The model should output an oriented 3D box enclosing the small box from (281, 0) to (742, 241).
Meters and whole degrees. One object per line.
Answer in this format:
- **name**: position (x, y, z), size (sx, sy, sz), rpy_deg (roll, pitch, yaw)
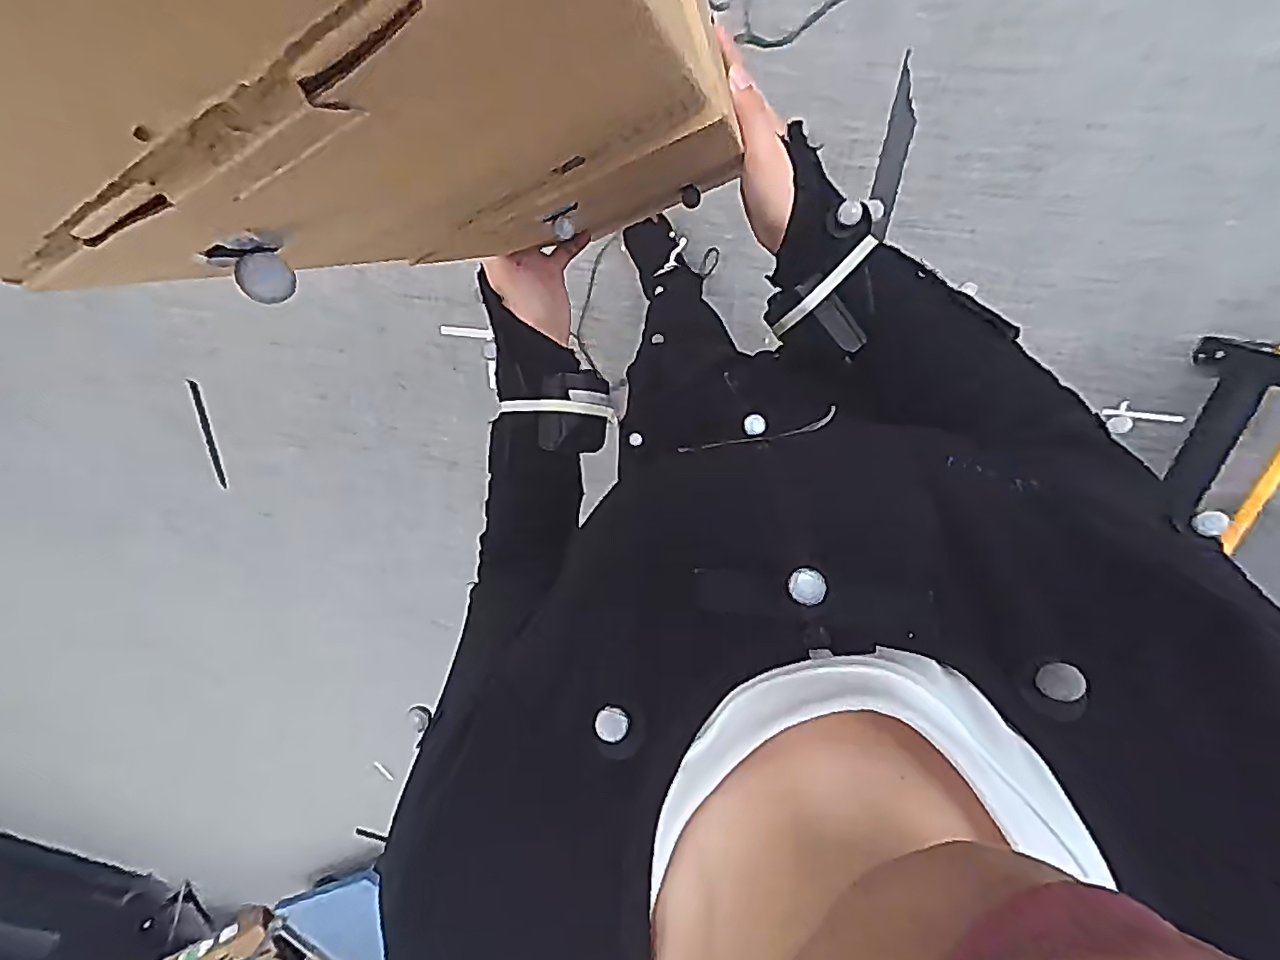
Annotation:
- **small box**: position (-0.053, -0.241, 0.290), size (0.179, 0.176, 0.168), rpy_deg (-15, 111, 19)
